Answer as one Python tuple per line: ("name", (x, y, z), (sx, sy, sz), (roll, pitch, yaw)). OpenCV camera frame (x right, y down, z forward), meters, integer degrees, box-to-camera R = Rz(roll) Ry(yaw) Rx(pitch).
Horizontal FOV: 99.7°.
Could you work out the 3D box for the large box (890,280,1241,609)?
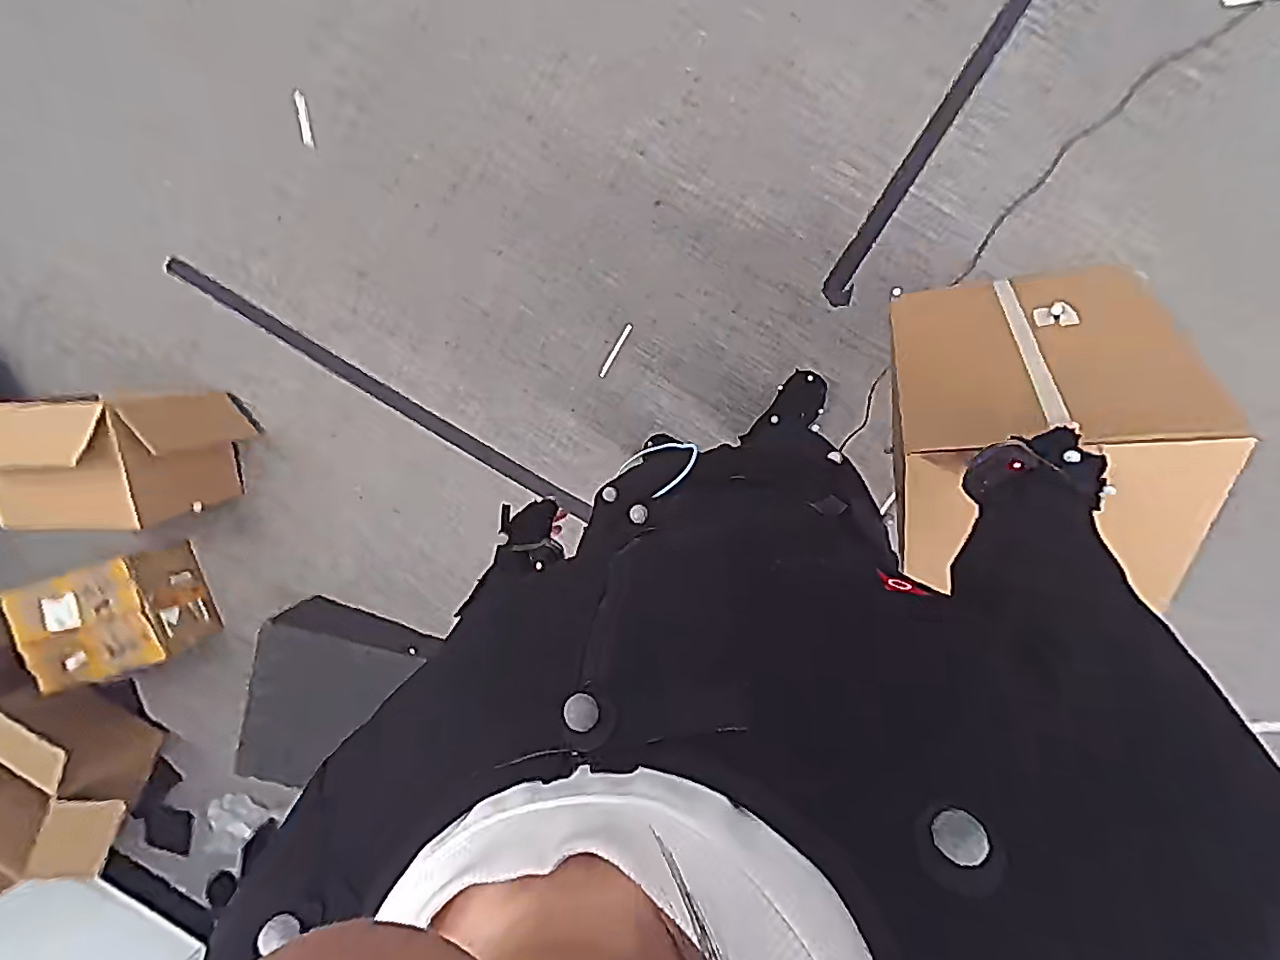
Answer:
("large box", (0.565, -0.056, 0.832), (0.320, 0.408, 0.320), (0, 132, 22))
